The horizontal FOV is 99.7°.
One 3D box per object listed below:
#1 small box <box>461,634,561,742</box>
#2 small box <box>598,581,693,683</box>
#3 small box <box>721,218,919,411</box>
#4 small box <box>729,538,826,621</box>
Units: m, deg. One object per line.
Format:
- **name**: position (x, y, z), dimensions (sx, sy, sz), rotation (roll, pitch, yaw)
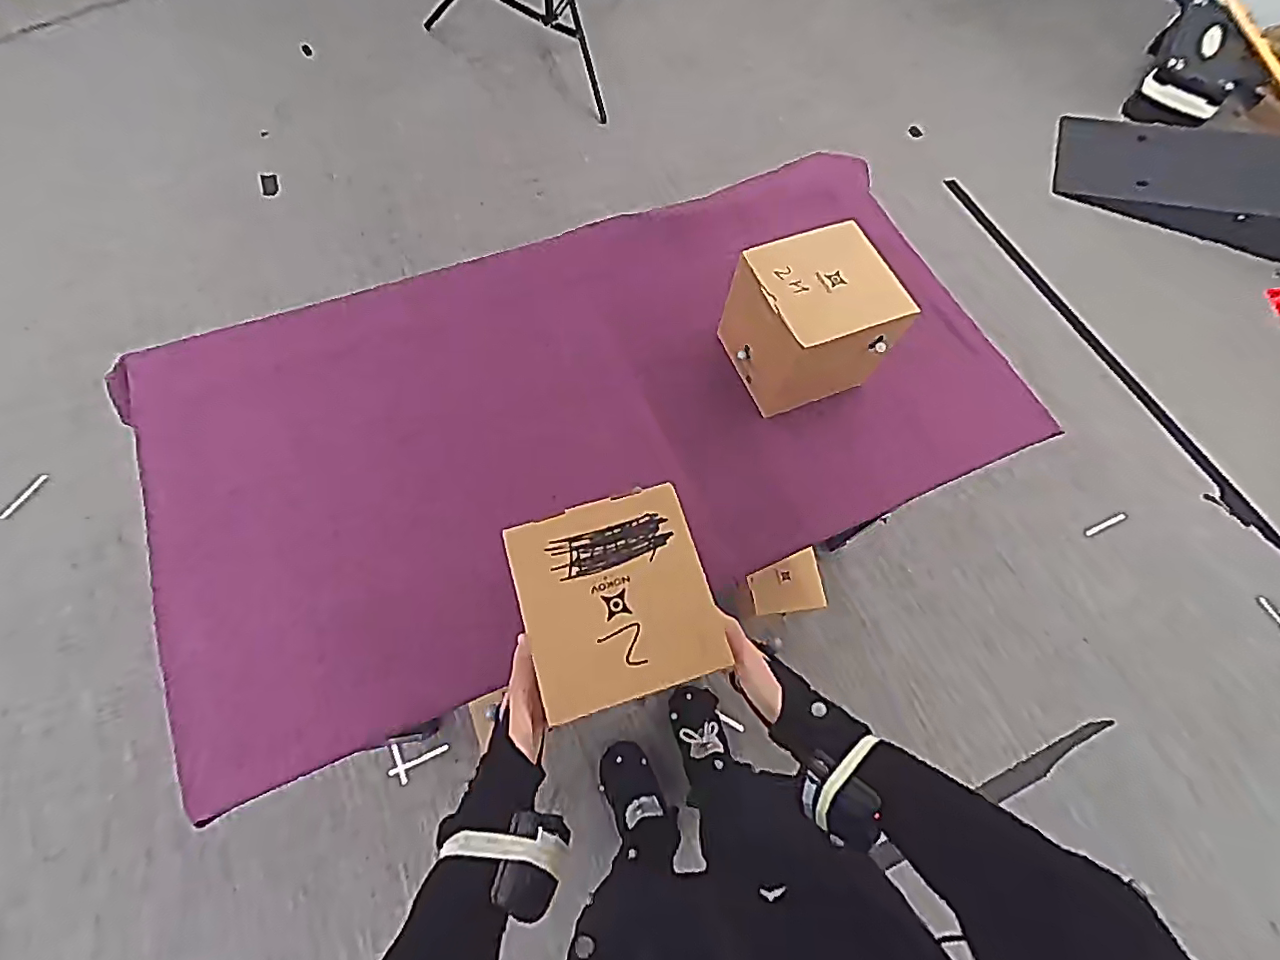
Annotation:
- **small box**: position (-0.286, 0.474, 1.223), dimensions (0.168, 0.176, 0.179), rotation (-20, 69, -11)
- **small box**: position (0.005, 0.367, 1.286), dimensions (0.168, 0.176, 0.179), rotation (-22, 72, -12)
- **small box**: position (0.235, -0.224, 0.755), dimensions (0.179, 0.176, 0.168), rotation (-20, 69, -11)
- **small box**: position (0.336, 0.253, 1.357), dimensions (0.179, 0.176, 0.168), rotation (-6, 69, -5)
